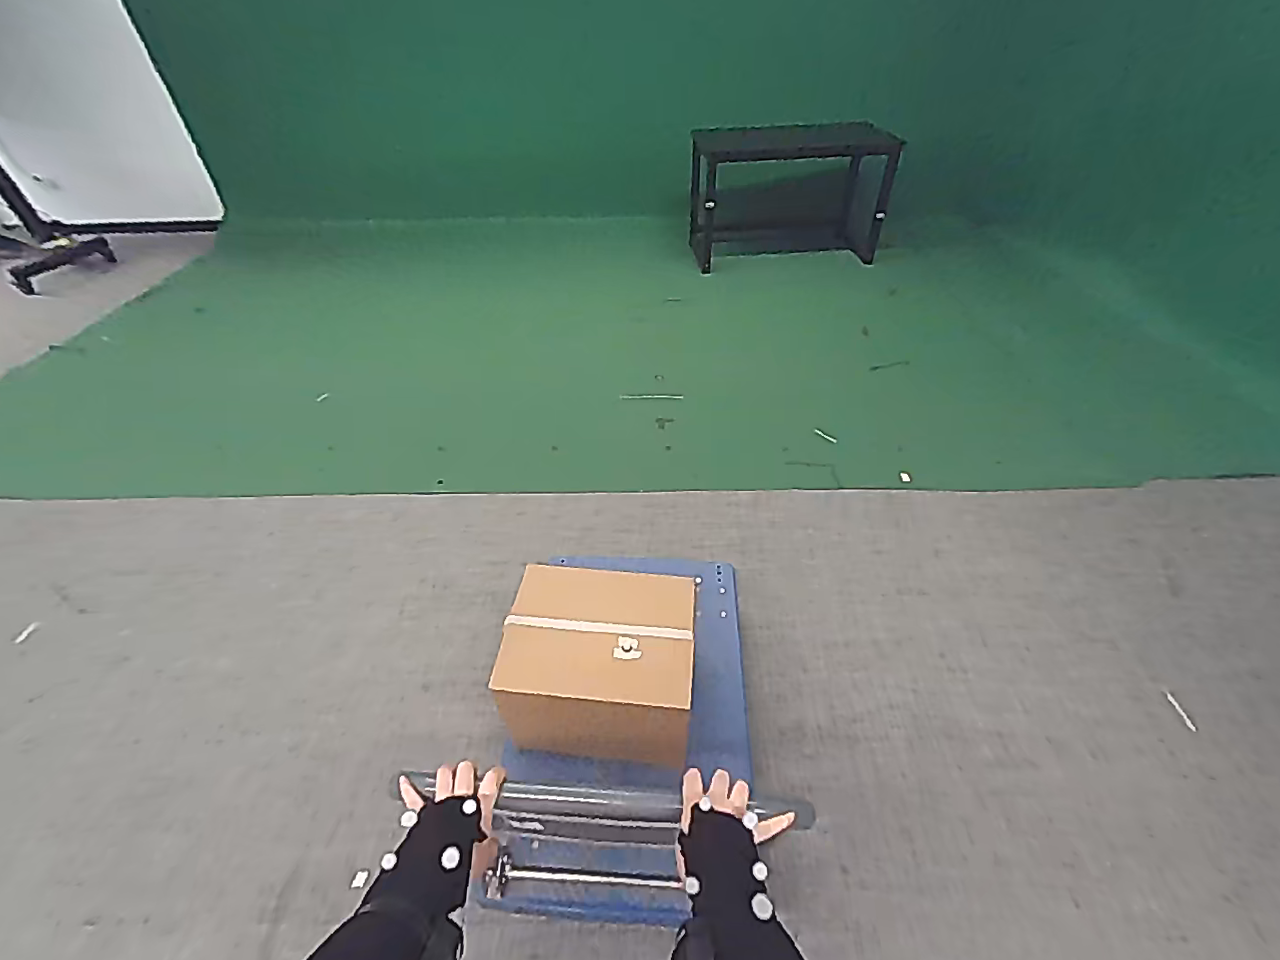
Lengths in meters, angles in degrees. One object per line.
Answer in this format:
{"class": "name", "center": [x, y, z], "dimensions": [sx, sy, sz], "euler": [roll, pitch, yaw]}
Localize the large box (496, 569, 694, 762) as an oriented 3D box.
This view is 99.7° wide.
{"class": "large box", "center": [-0.086, 0.440, 1.288], "dimensions": [0.408, 0.320, 0.320], "euler": [4, 43, 4]}
